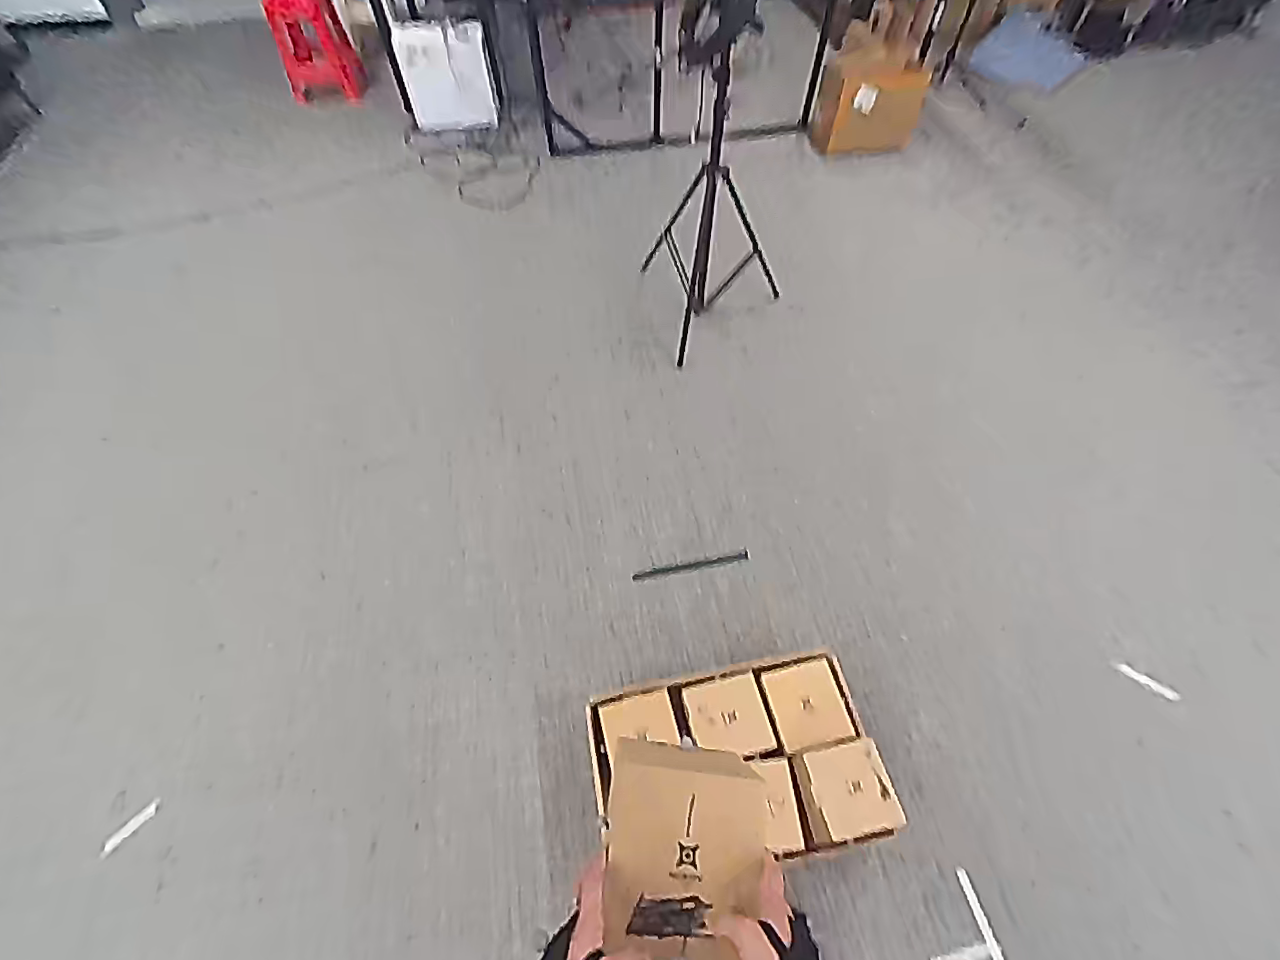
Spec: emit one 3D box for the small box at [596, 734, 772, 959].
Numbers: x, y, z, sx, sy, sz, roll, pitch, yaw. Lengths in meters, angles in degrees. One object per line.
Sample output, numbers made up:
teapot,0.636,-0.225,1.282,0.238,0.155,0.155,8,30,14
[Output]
small box,0.046,0.417,0.635,0.168,0.176,0.179,9,74,-1
